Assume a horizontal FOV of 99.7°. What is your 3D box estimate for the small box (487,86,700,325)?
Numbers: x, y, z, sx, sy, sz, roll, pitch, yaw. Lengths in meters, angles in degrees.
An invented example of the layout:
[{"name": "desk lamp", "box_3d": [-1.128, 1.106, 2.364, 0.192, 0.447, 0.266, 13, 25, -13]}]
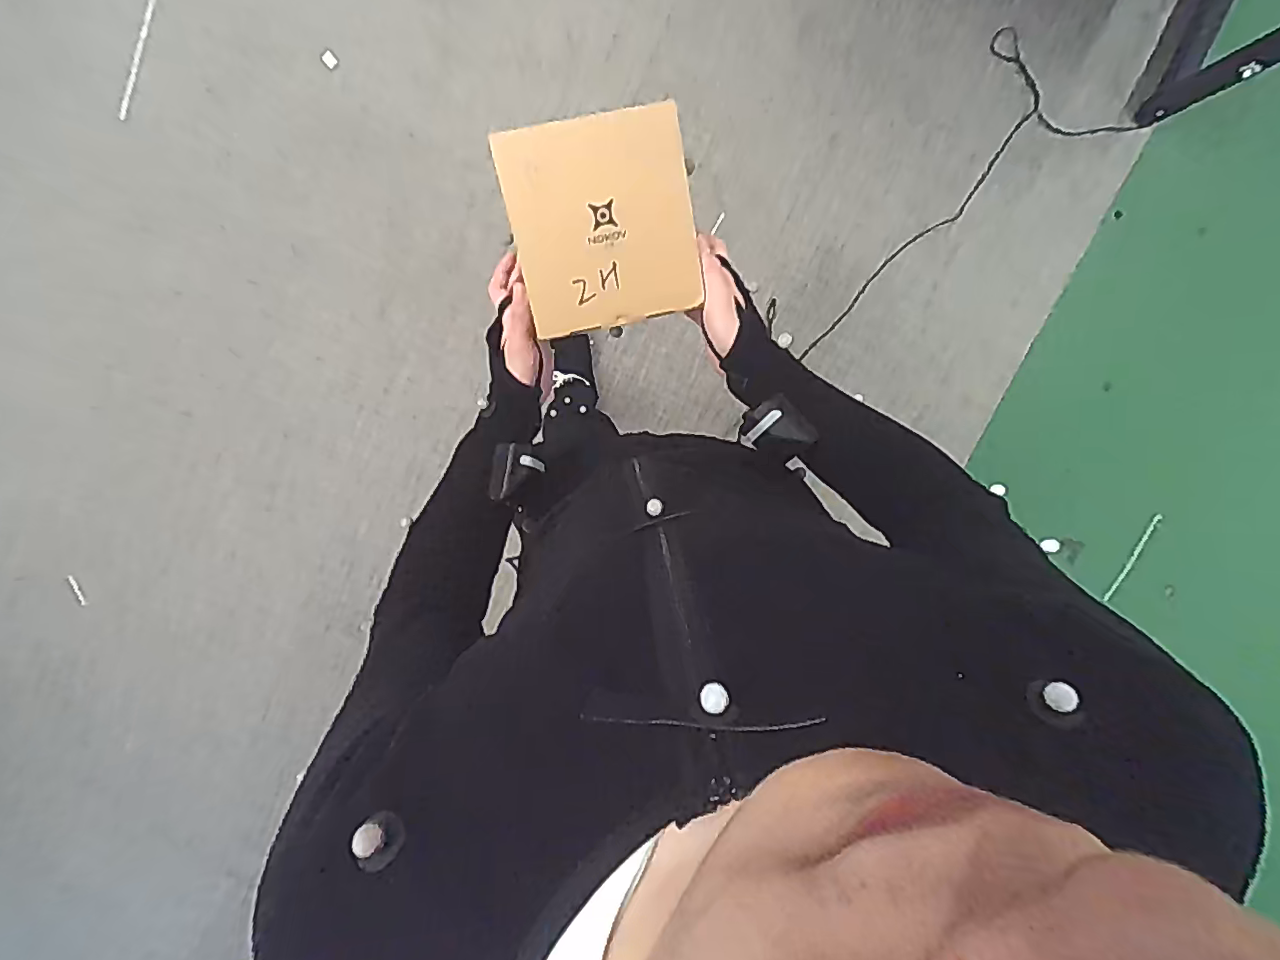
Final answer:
[{"name": "small box", "box_3d": [-0.045, -0.263, 0.558, 0.168, 0.176, 0.179, -12, 109, -2]}]
